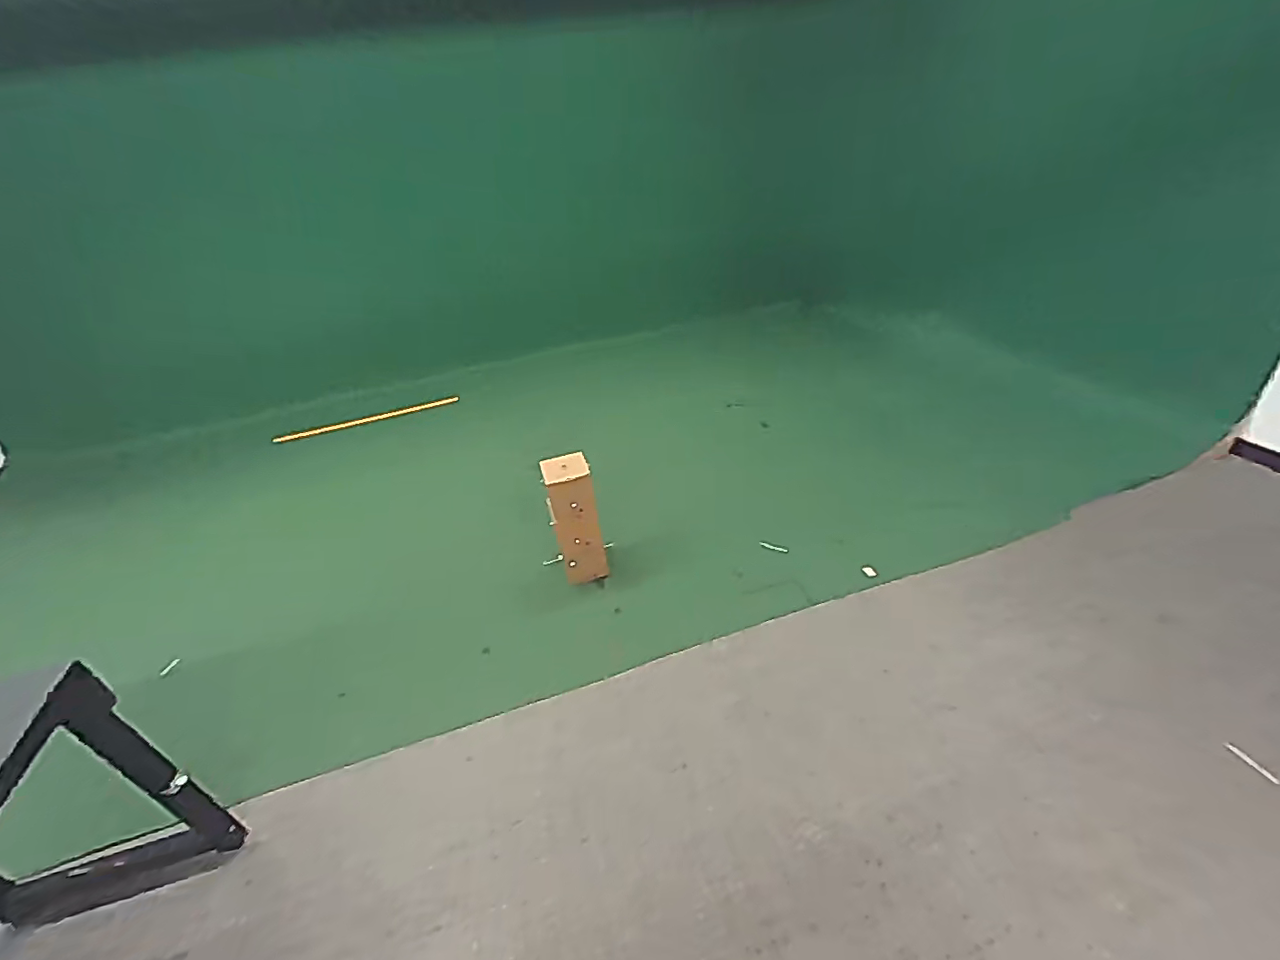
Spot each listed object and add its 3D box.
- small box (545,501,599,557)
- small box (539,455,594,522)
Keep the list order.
[{"bbox_3d":[-0.267,0.173,2.122,0.168,0.176,0.179,-14,34,-12],"label":"small box"},{"bbox_3d":[-0.278,0.031,2.038,0.168,0.176,0.179,-14,34,-11],"label":"small box"}]
